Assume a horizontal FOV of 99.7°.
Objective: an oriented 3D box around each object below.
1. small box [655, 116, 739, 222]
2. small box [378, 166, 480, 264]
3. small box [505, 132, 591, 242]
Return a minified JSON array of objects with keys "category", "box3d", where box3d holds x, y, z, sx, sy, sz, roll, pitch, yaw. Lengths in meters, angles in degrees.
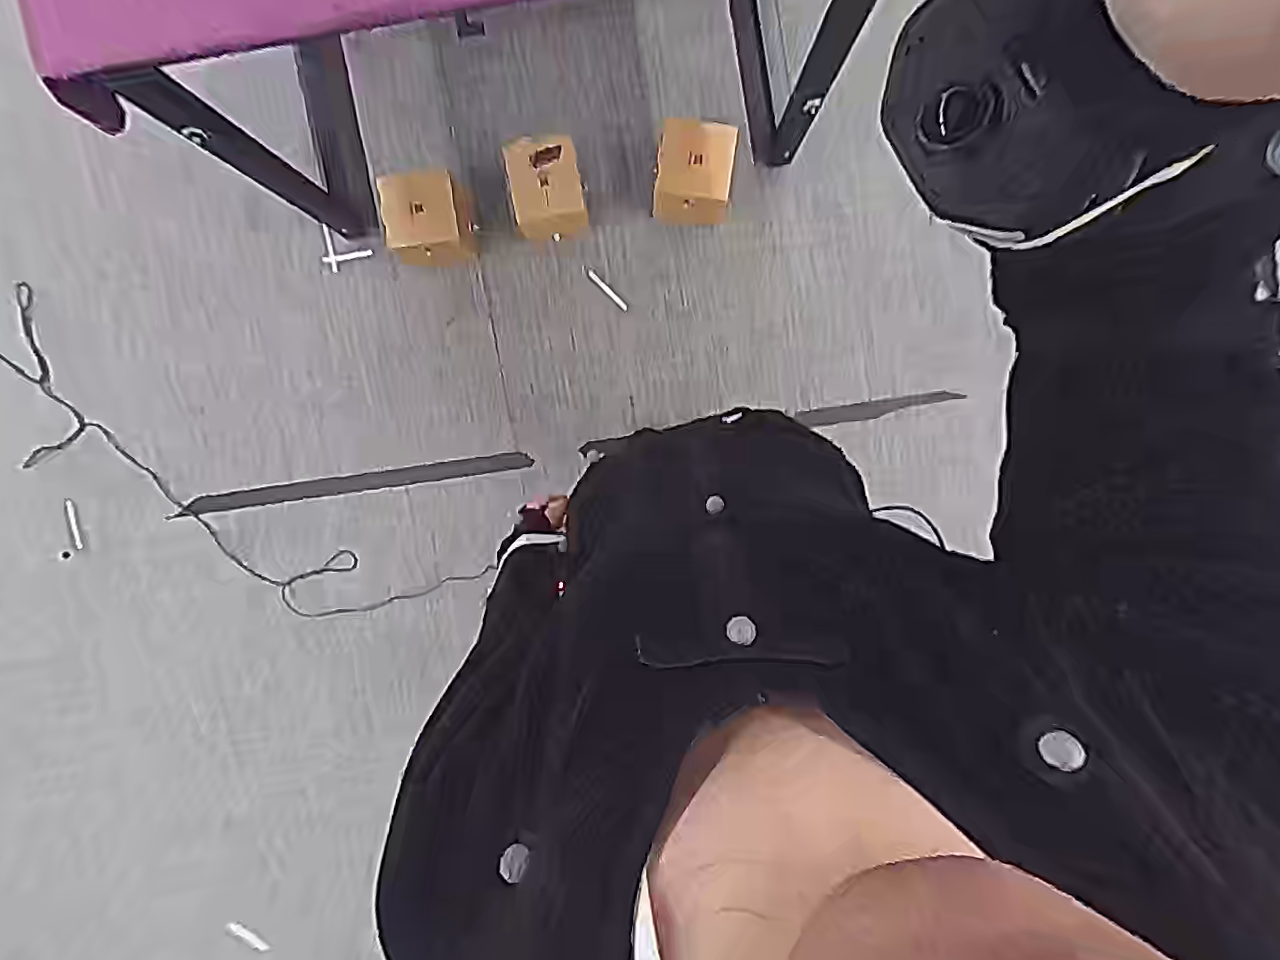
[{"category":"small box","box3d":[0.134,-0.756,1.333,0.179,0.176,0.168,8,97,1]},{"category":"small box","box3d":[-0.519,-0.653,1.351,0.179,0.176,0.168,-7,96,0]},{"category":"small box","box3d":[-0.221,-0.717,1.339,0.168,0.176,0.179,-10,97,2]}]
